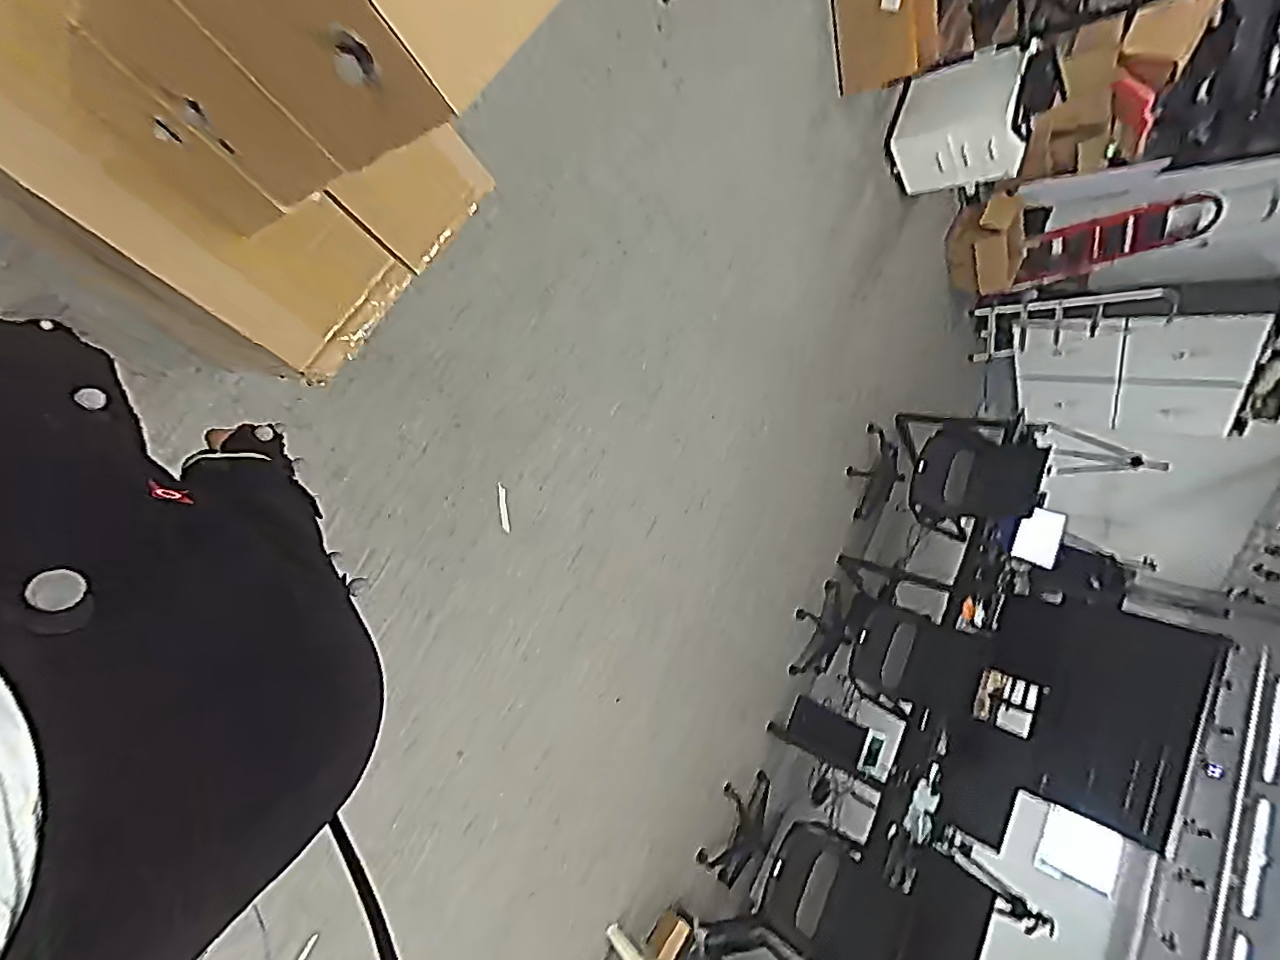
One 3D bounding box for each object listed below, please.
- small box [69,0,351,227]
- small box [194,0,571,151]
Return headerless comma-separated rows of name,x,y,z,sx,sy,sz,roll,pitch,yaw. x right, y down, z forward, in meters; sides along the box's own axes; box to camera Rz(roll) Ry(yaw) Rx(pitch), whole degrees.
small box,-0.399,-0.380,0.533,0.179,0.176,0.168,46,67,-43
small box,-0.159,-0.325,0.314,0.179,0.176,0.168,46,68,-43
